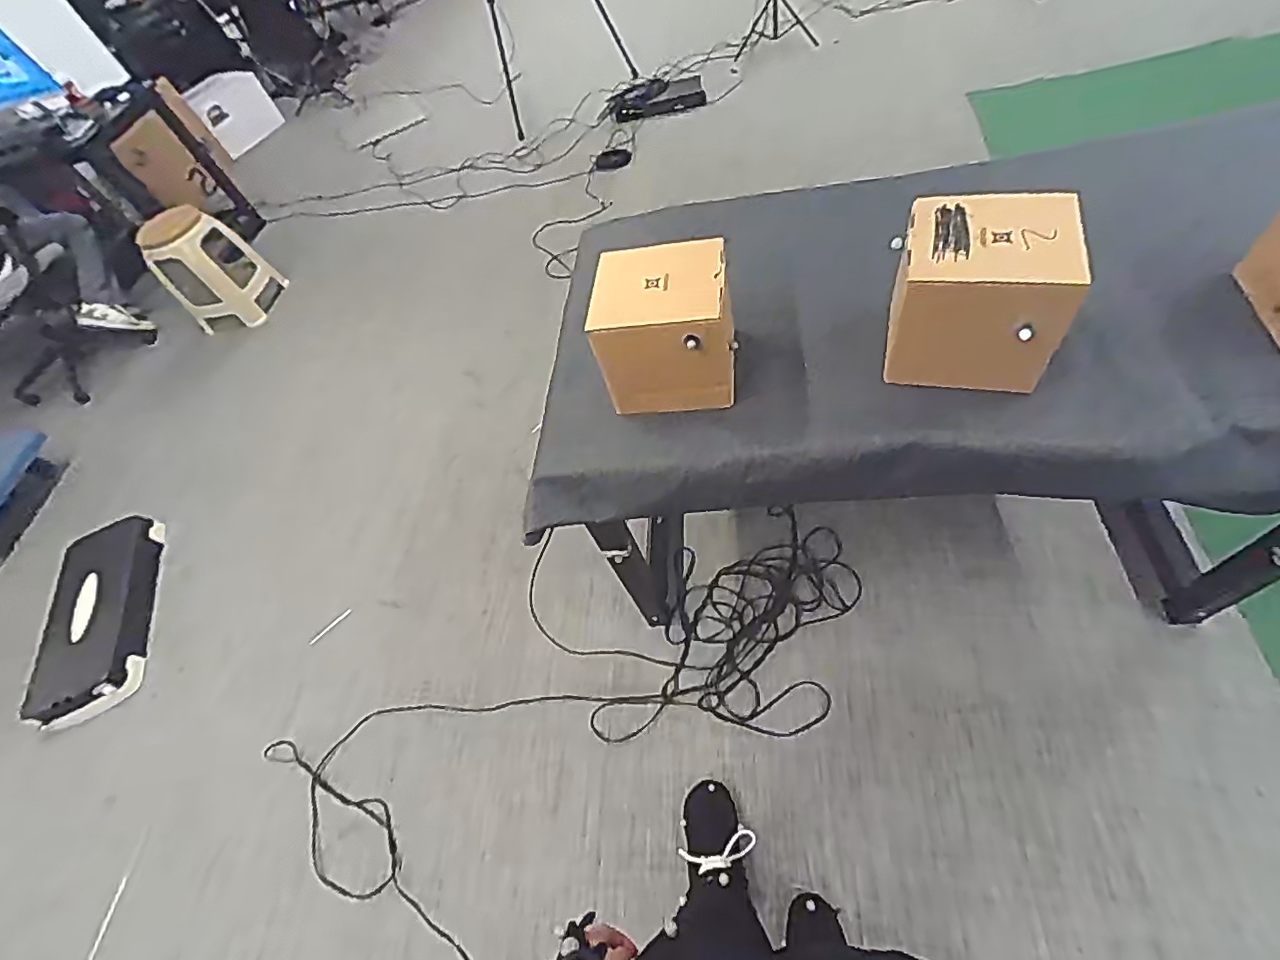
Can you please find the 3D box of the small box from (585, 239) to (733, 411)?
[{"bbox_3d":[0.038,-0.214,0.776,0.179,0.176,0.168,-2,56,13],"label":"small box"}]

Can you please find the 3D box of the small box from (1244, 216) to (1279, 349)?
[{"bbox_3d":[0.833,-0.247,0.588,0.179,0.176,0.168,1,58,15],"label":"small box"}]
